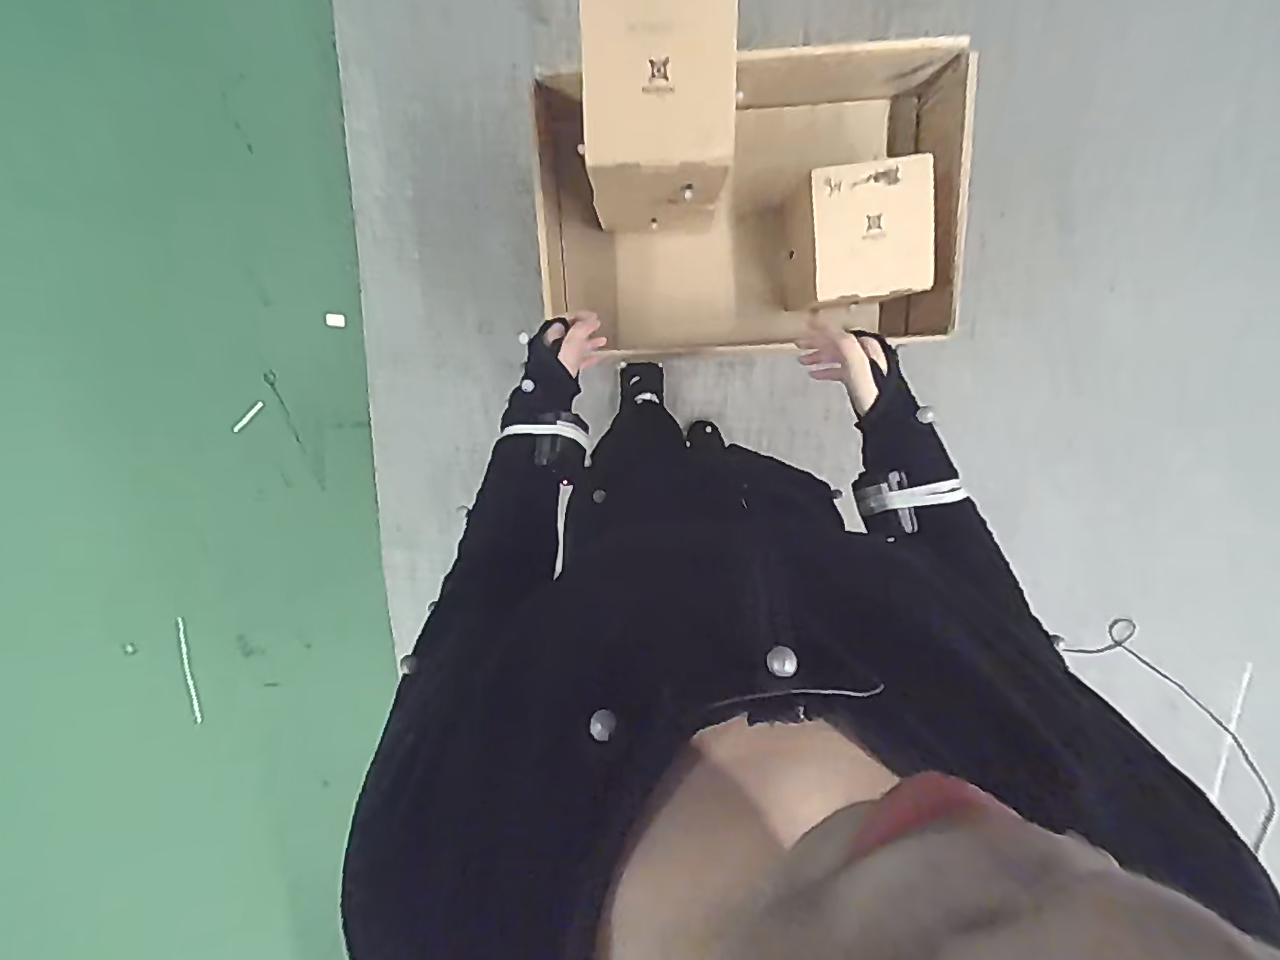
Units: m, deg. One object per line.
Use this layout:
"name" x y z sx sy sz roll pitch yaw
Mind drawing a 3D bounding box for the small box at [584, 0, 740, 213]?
"small box" 0.023 -0.438 0.658 0.168 0.176 0.179 0 102 0
